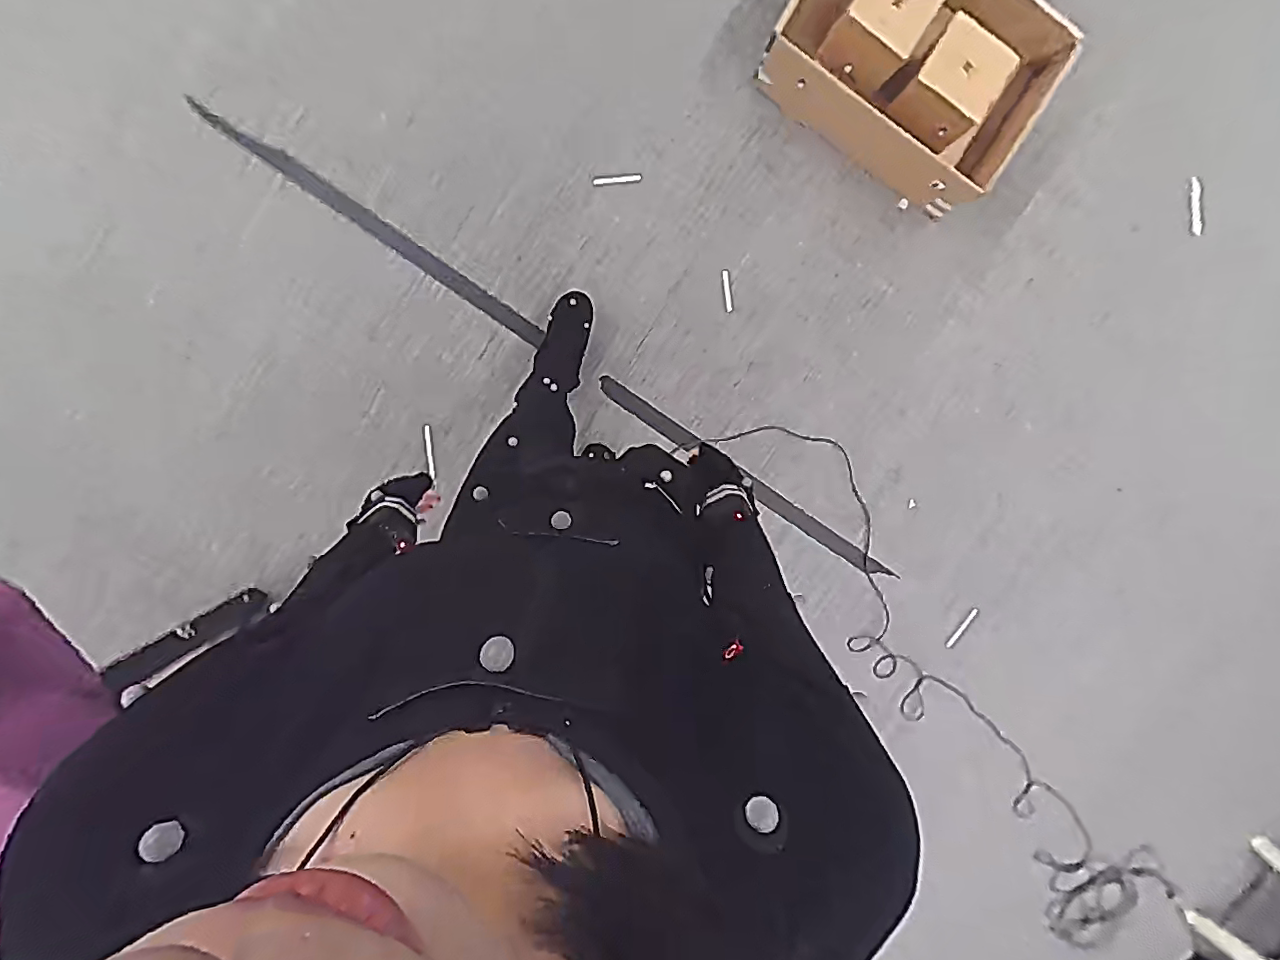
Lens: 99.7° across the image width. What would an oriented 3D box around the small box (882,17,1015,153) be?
[{"bbox_3d":[0.720,-0.919,1.283,0.179,0.176,0.168,31,95,-5],"label":"small box"}]
